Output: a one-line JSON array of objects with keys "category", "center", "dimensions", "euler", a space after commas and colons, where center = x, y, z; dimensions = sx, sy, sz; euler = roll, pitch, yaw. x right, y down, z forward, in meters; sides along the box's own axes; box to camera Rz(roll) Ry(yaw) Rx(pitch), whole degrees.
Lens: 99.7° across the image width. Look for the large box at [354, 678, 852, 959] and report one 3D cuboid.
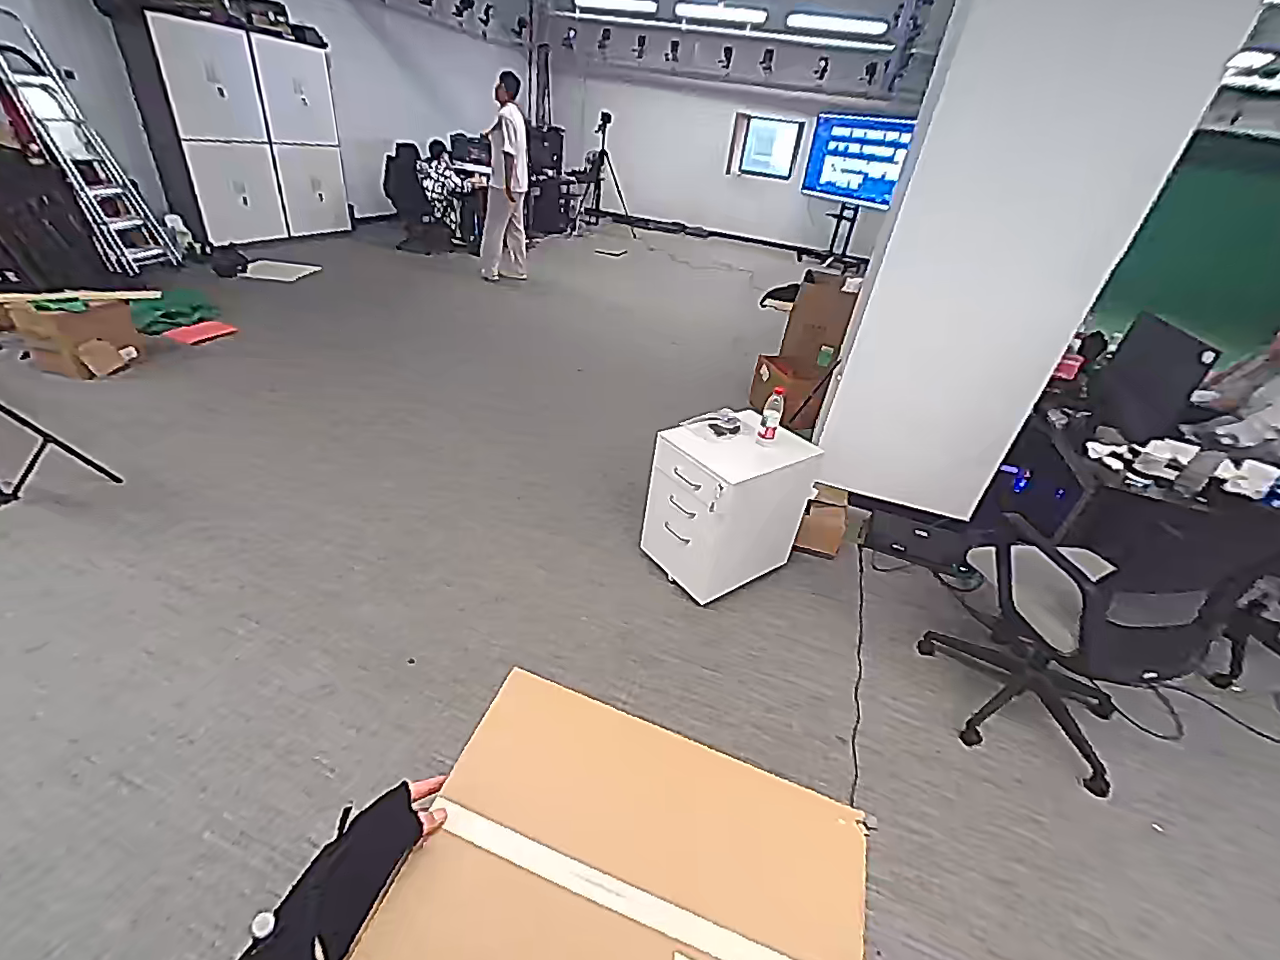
[{"category": "large box", "center": [-0.033, 0.490, 0.585], "dimensions": [0.408, 0.320, 0.320], "euler": [20, 42, 9]}]
